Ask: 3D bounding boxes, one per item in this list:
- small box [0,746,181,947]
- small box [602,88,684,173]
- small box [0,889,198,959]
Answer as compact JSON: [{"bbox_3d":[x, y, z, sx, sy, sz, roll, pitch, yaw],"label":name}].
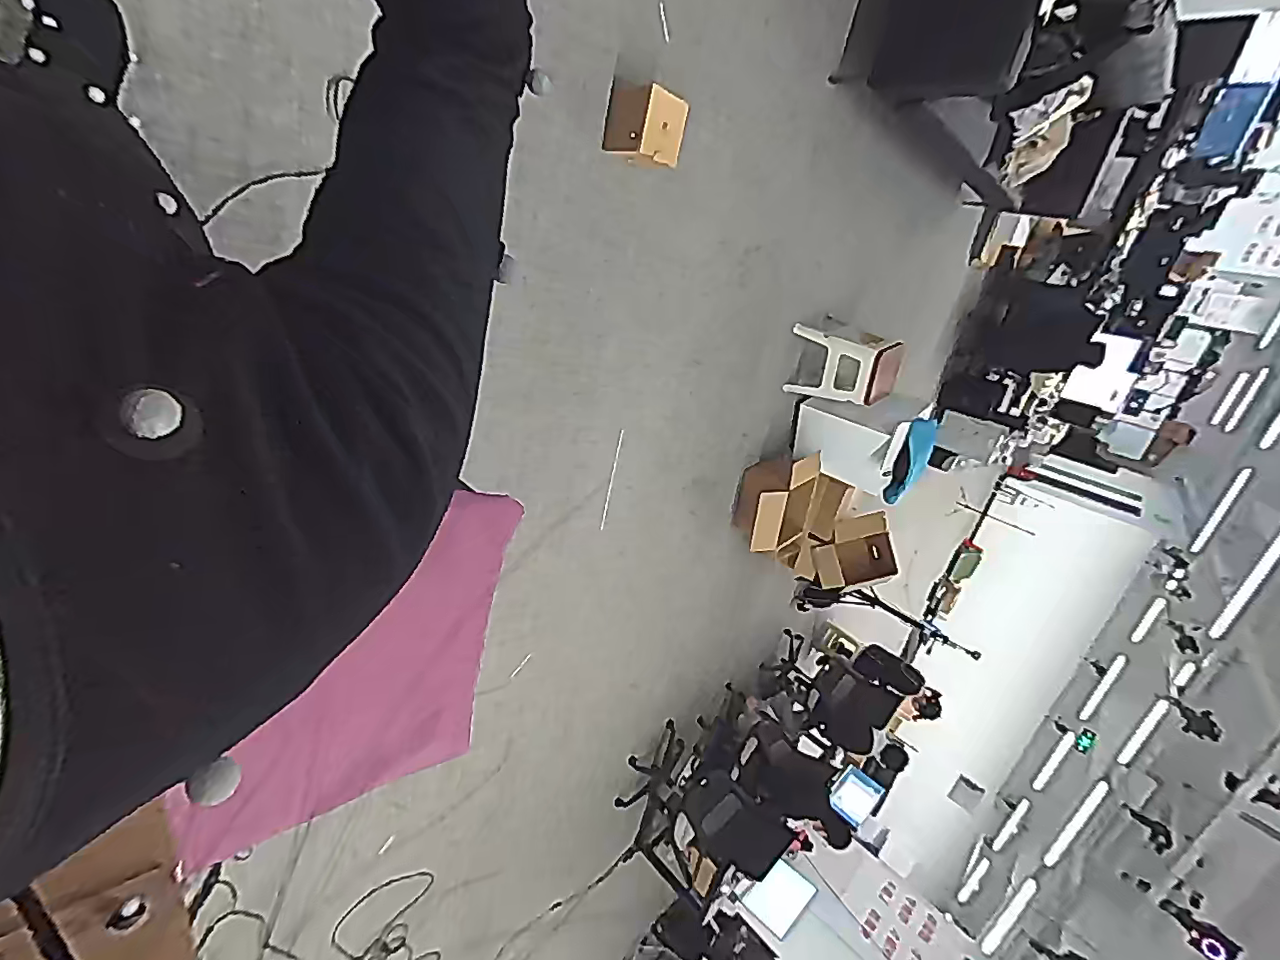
[{"bbox_3d":[-0.533,0.384,0.480,0.168,0.176,0.179,-5,116,-49],"label":"small box"},{"bbox_3d":[0.004,-1.062,1.650,0.168,0.176,0.179,-9,119,-46],"label":"small box"},{"bbox_3d":[-0.417,0.440,0.377,0.168,0.176,0.179,-3,116,-49],"label":"small box"}]
